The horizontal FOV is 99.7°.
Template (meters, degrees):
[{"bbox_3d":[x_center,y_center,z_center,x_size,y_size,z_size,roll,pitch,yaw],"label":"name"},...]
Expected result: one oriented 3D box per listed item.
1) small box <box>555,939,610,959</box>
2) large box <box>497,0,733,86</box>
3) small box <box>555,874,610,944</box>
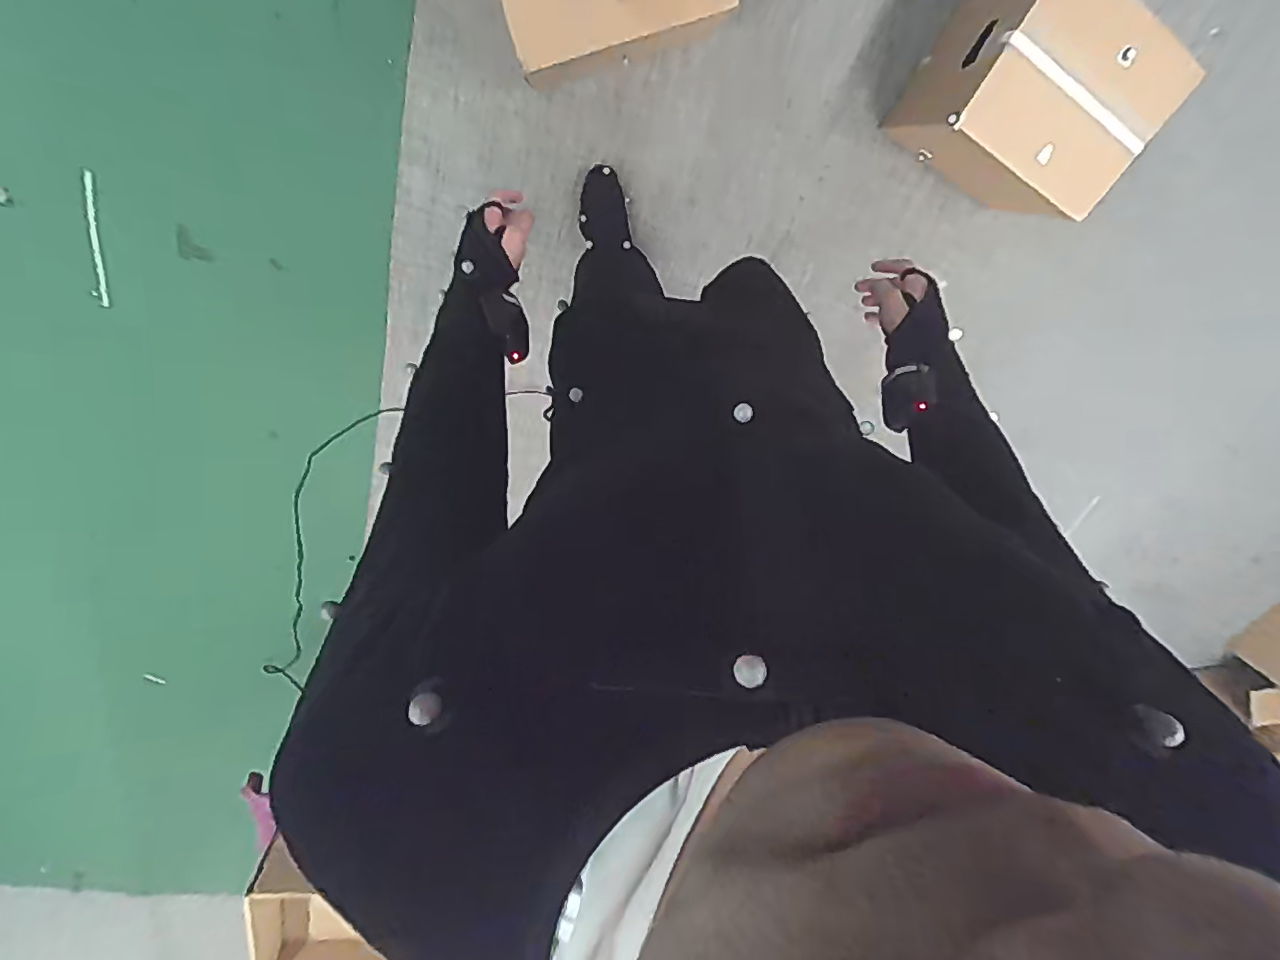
[{"bbox_3d":[-0.178,1.404,1.496,0.168,0.176,0.179,12,120,-13],"label":"small box"},{"bbox_3d":[-0.073,-0.980,0.999,0.408,0.320,0.320,-15,121,4],"label":"large box"},{"bbox_3d":[-0.195,1.323,1.634,0.168,0.176,0.179,13,120,-13],"label":"small box"}]
